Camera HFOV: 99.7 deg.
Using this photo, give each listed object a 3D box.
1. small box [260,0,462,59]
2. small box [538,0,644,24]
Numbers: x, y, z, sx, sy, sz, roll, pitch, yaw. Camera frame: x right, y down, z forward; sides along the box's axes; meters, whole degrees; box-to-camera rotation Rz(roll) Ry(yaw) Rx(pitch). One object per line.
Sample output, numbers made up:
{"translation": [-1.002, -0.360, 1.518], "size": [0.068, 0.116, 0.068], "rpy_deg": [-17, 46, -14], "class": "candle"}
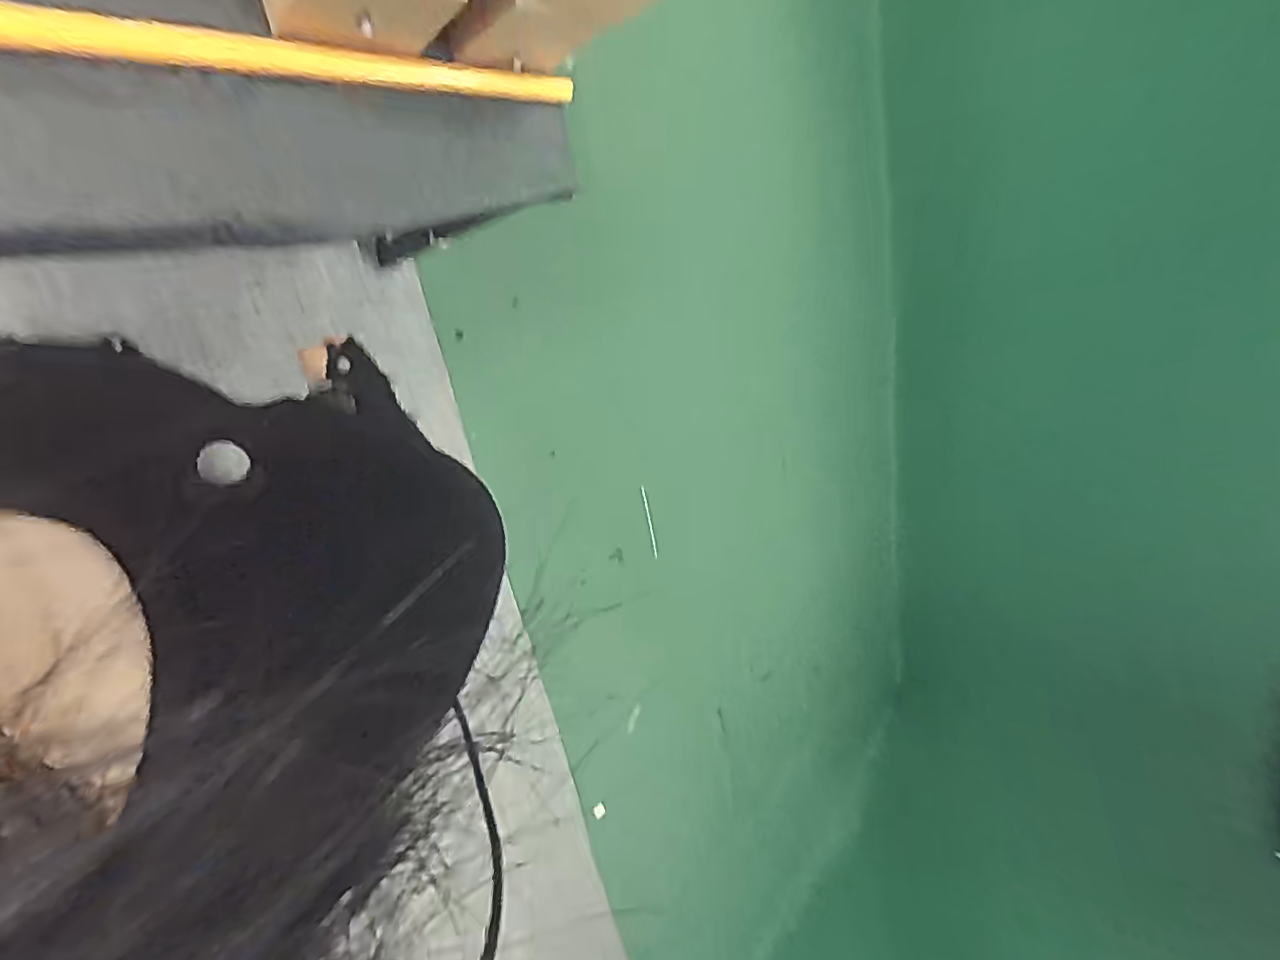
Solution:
{"translation": [-0.323, -0.601, 0.587], "size": [0.168, 0.176, 0.179], "rpy_deg": [-25, 113, -41], "class": "small box"}
{"translation": [-0.051, -0.669, 0.616], "size": [0.179, 0.176, 0.168], "rpy_deg": [-23, 112, -42], "class": "small box"}
